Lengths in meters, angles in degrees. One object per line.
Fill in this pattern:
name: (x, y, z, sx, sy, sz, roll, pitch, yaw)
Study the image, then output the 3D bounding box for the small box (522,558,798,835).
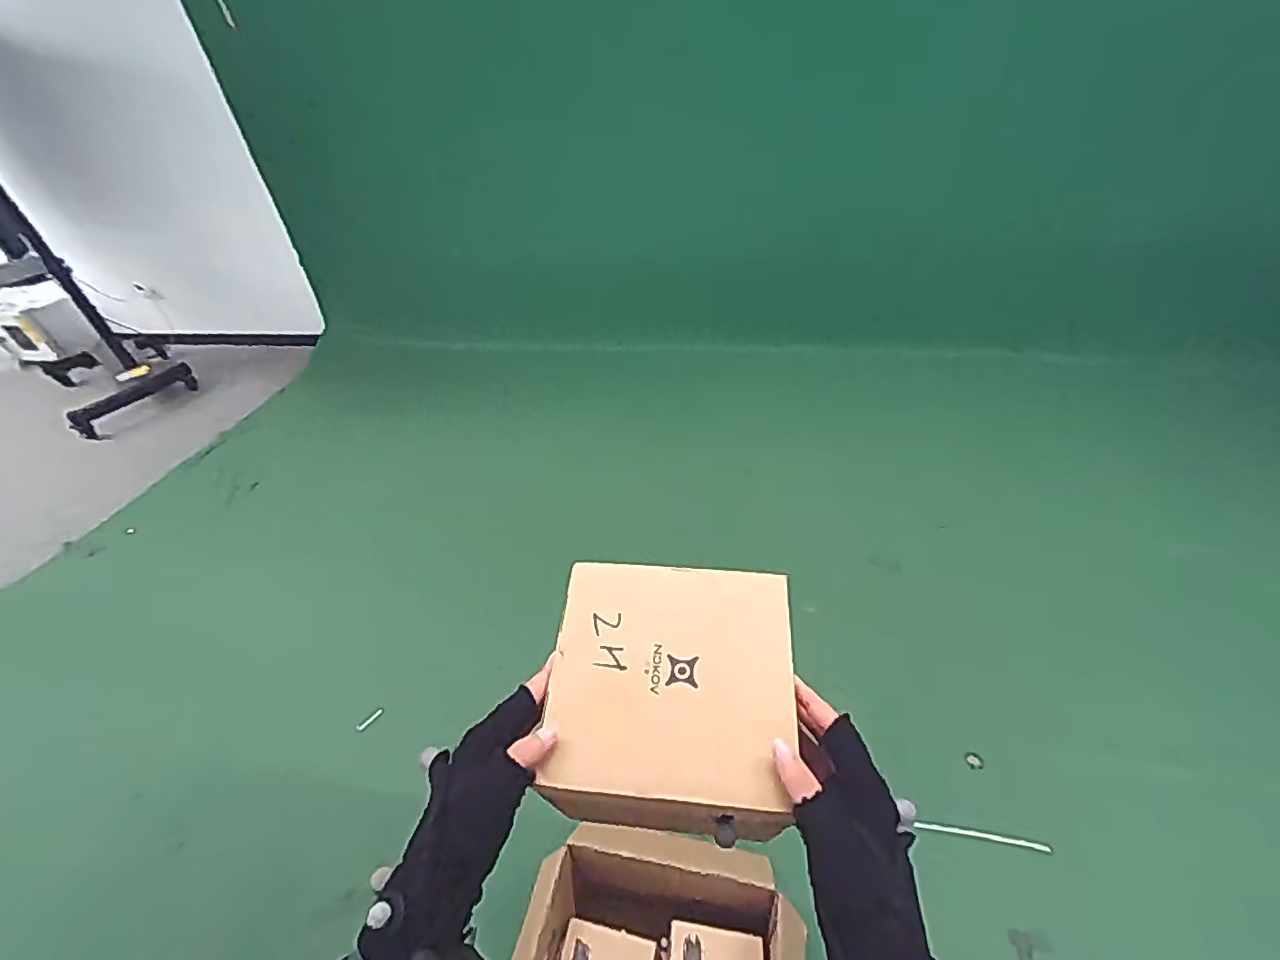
small box: (0.023, 0.182, 0.447, 0.179, 0.176, 0.168, 2, 51, 7)
